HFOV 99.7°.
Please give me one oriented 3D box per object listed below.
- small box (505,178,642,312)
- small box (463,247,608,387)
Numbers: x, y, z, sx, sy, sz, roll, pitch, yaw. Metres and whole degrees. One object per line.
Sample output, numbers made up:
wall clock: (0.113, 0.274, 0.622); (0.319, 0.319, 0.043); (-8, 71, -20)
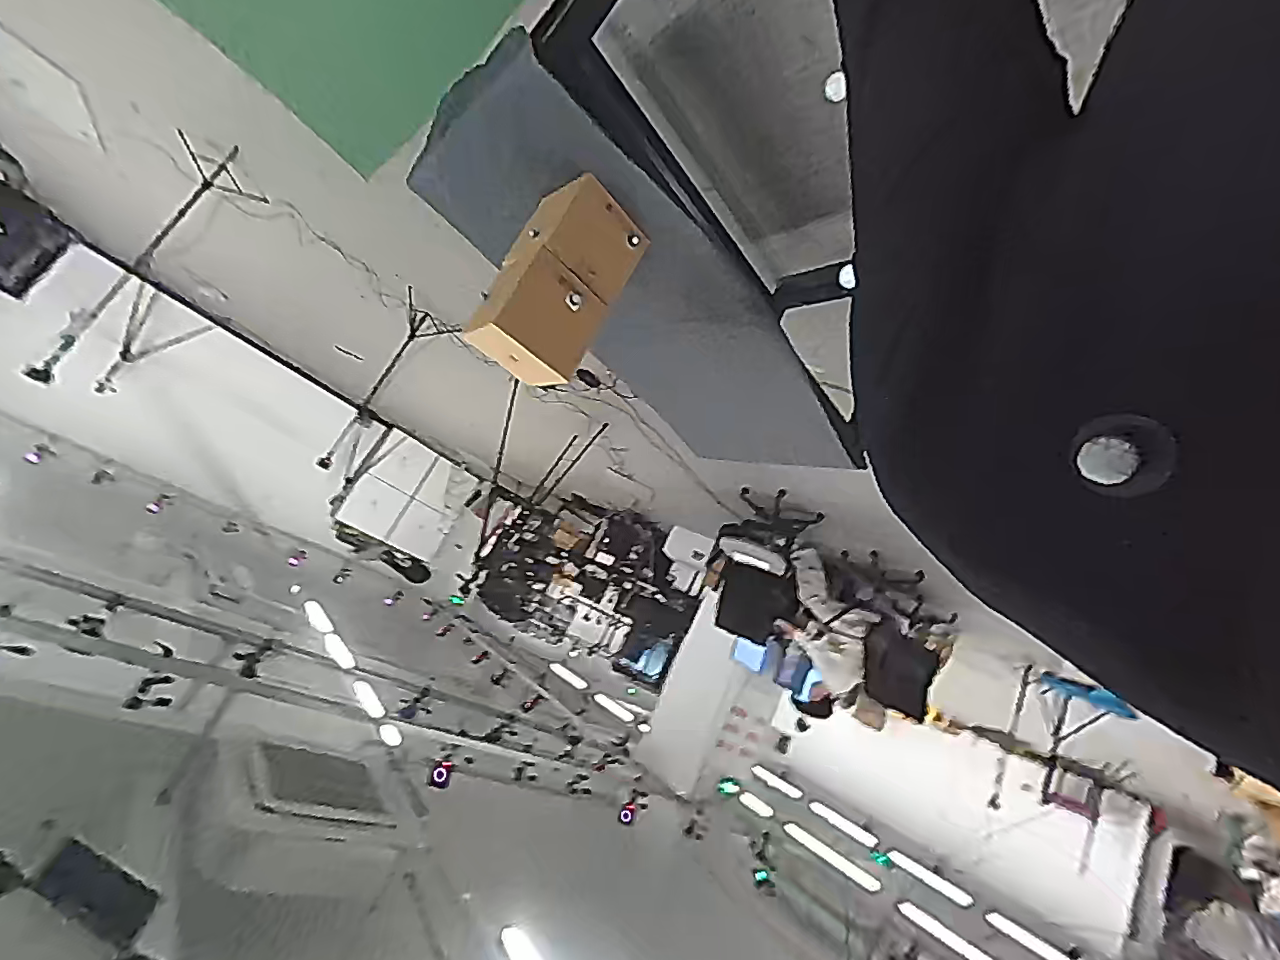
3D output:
small box: (-0.118, -0.430, 1.021); (0.168, 0.176, 0.179); (36, 165, -37)
small box: (-0.186, -0.287, 0.982); (0.168, 0.176, 0.179); (34, 165, -34)
